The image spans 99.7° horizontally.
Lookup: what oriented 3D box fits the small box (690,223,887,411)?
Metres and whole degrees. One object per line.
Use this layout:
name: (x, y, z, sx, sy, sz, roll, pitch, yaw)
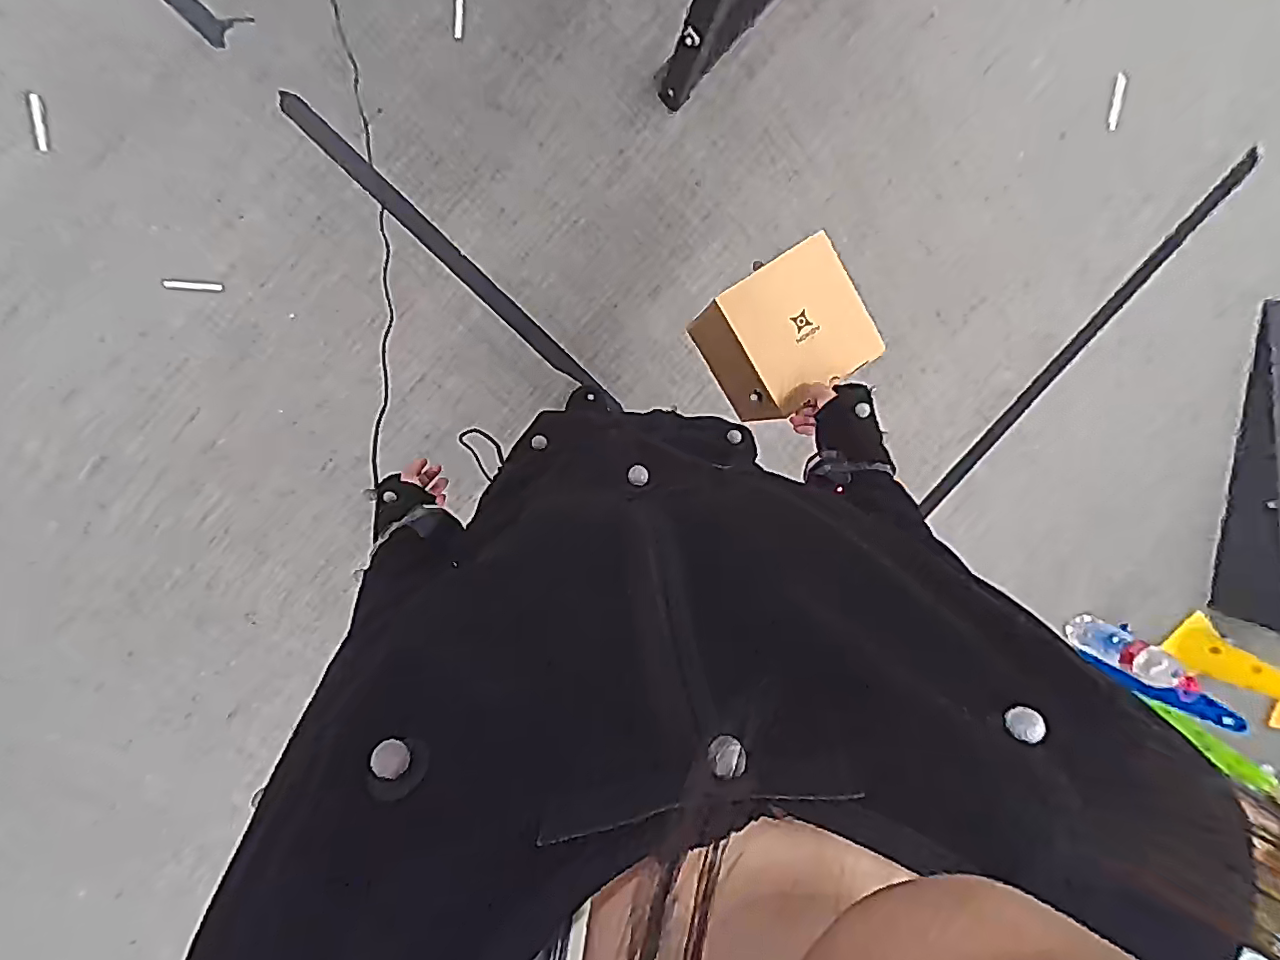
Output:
small box: (0.190, -0.208, 0.746, 0.168, 0.176, 0.179, -34, 99, -4)
